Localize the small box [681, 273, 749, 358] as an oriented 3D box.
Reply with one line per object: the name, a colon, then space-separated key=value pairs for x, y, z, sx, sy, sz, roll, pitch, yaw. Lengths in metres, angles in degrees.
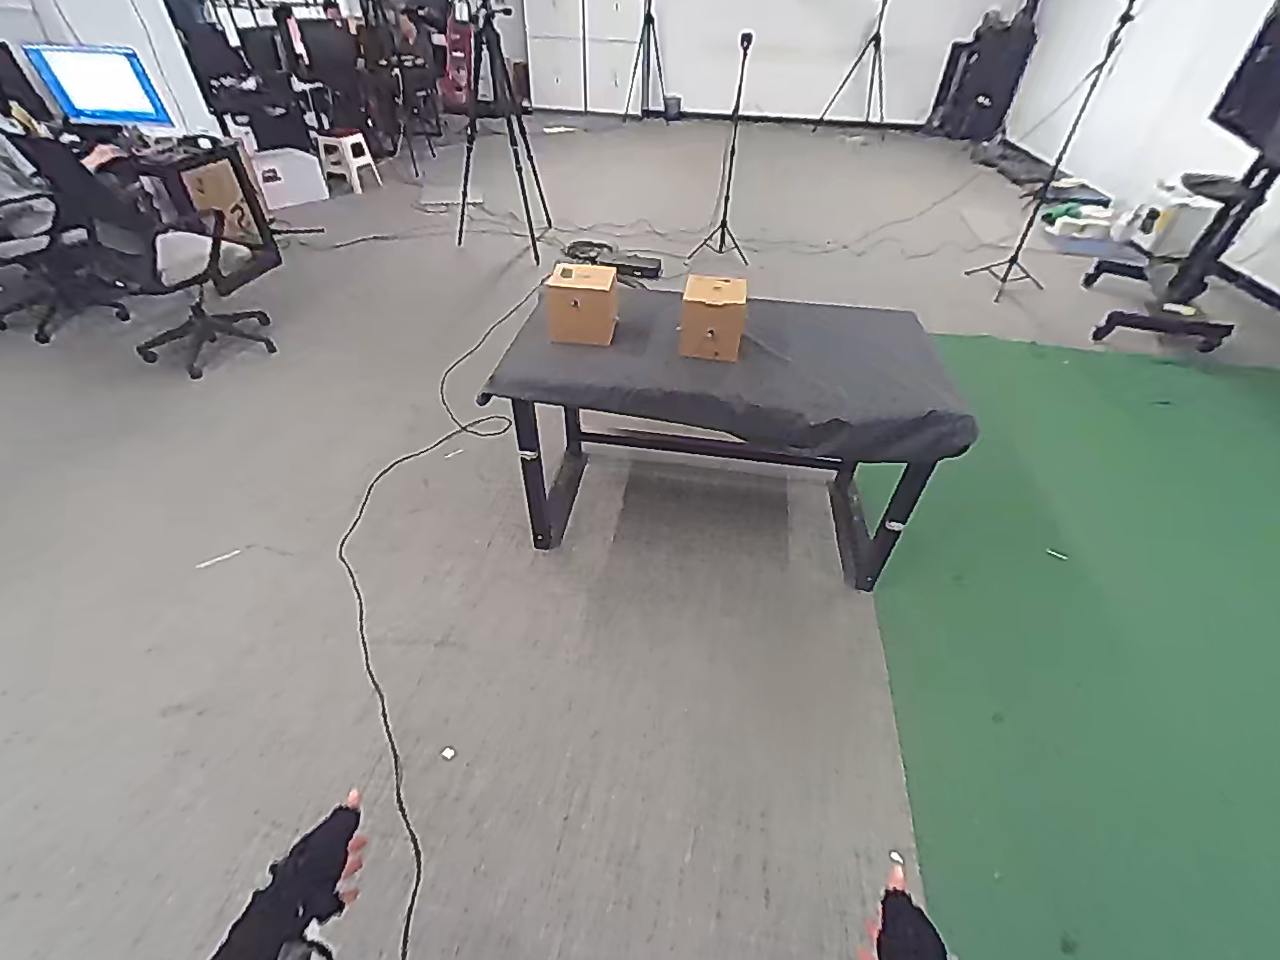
small box: x=0.208 y=-0.459 z=1.516 sx=0.168 sy=0.176 sz=0.179 roll=8 pitch=43 yaw=6

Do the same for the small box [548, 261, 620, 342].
small box: x=-0.156 y=-0.512 z=1.557 sx=0.179 sy=0.176 sz=0.168 roll=6 pitch=42 yaw=2
